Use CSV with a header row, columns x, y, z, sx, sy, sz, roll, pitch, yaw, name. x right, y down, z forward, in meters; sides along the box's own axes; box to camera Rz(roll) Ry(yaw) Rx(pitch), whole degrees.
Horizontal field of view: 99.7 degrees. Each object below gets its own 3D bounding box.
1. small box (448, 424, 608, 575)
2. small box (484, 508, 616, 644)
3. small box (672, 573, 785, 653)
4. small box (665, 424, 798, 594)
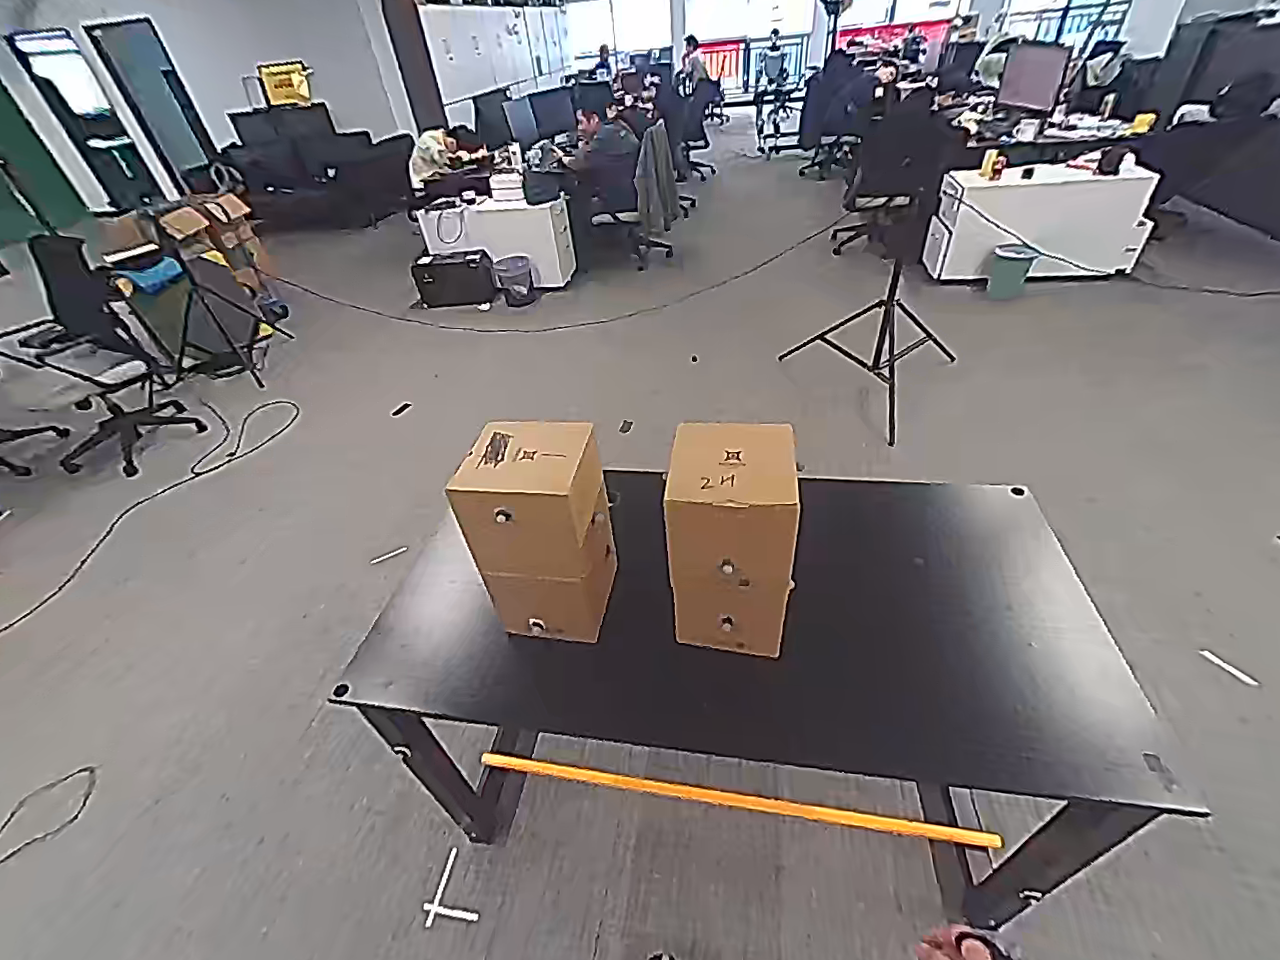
x,y,z,sx,sy,sz,roll,pitch,yaw,name
-0.157,0.029,0.826,0.179,0.176,0.168,2,40,10,small box
-0.142,0.154,0.932,0.168,0.176,0.179,2,41,11,small box
0.153,0.159,0.885,0.168,0.176,0.179,5,41,14,small box
0.131,0.037,0.774,0.168,0.176,0.179,2,40,11,small box
